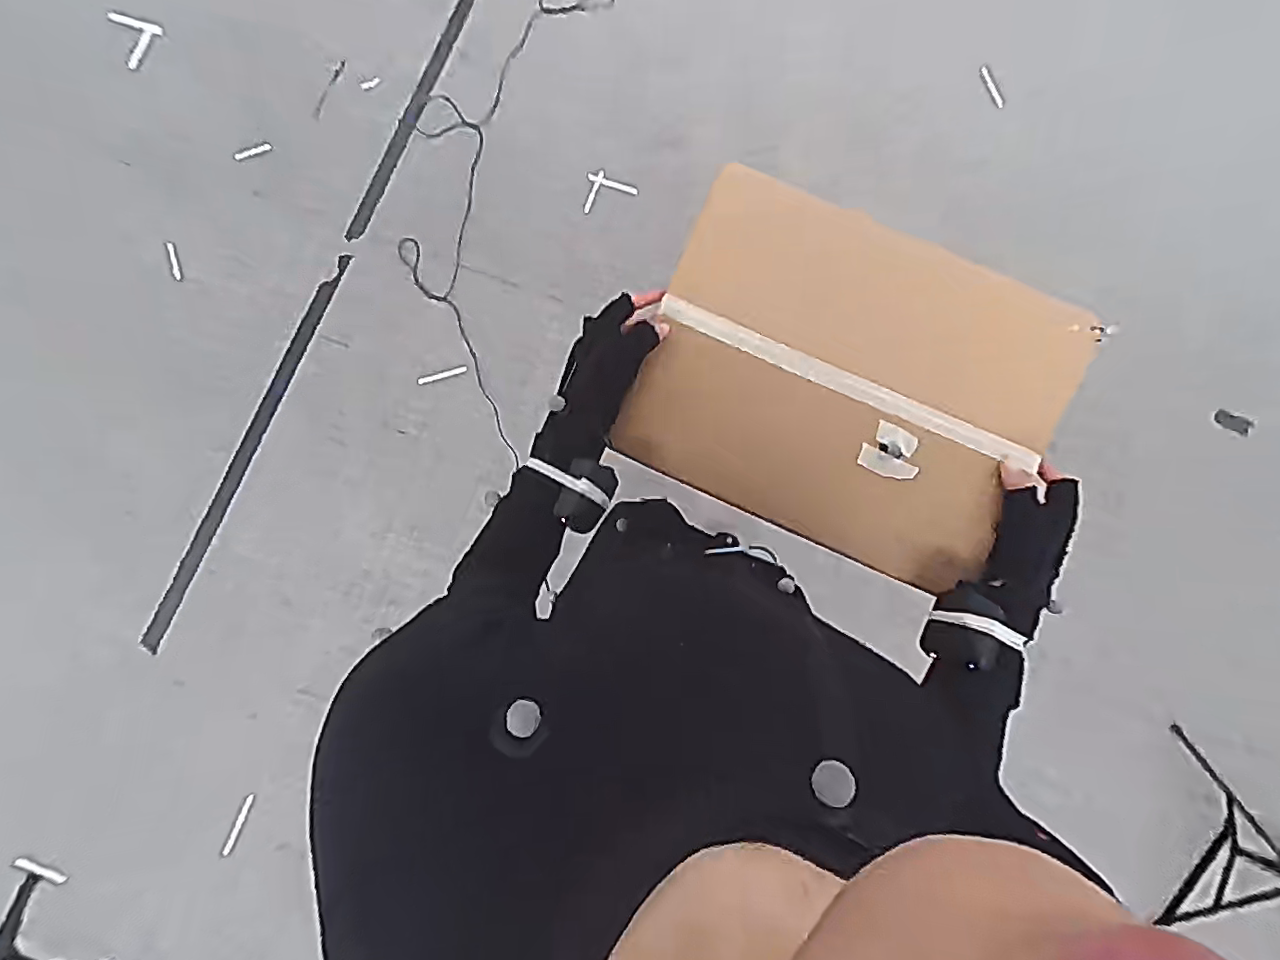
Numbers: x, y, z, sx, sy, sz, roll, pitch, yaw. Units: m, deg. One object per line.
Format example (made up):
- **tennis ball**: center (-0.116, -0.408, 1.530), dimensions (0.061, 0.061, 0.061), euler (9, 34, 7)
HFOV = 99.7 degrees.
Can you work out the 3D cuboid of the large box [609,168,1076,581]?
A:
- **large box**: center (0.209, -0.114, 0.708), dimensions (0.408, 0.320, 0.320), euler (24, 94, 1)
